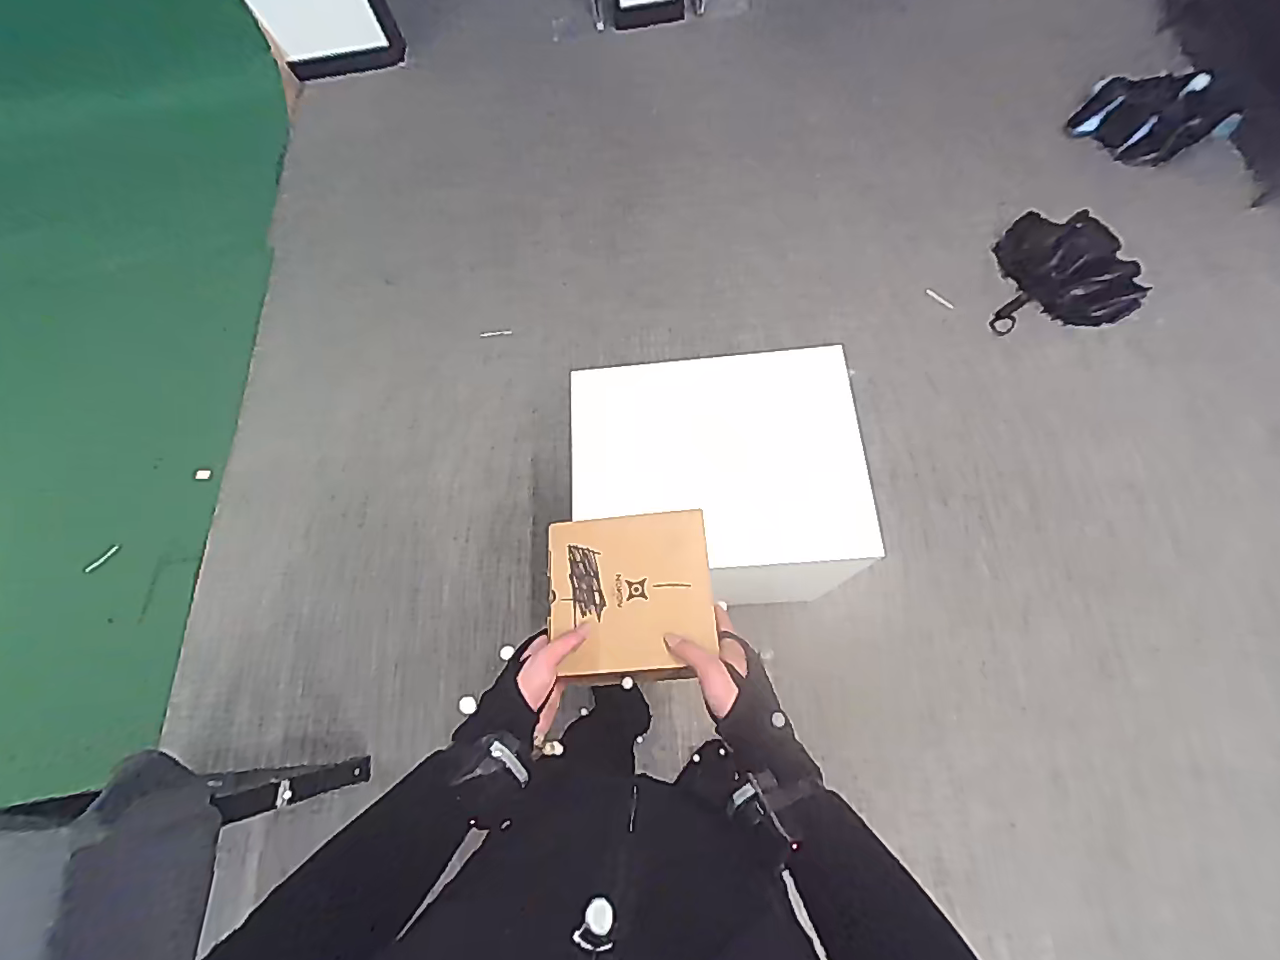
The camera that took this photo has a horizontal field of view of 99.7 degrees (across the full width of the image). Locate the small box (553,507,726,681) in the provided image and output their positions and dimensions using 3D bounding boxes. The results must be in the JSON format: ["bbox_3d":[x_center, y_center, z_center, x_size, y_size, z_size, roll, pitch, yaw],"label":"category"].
[{"bbox_3d":[0.005,0.142,0.634,0.179,0.176,0.168,-5,67,4],"label":"small box"}]
